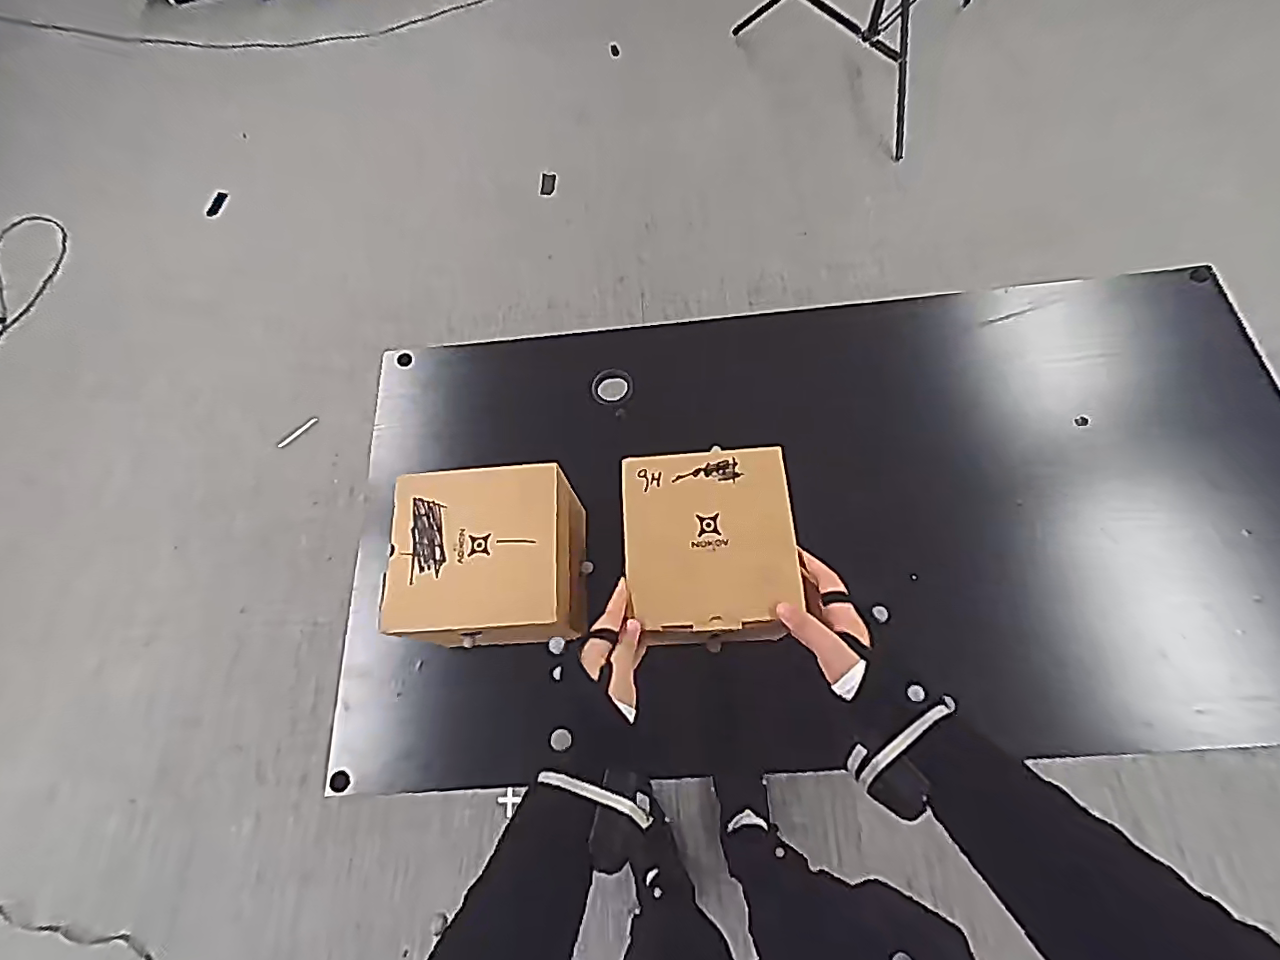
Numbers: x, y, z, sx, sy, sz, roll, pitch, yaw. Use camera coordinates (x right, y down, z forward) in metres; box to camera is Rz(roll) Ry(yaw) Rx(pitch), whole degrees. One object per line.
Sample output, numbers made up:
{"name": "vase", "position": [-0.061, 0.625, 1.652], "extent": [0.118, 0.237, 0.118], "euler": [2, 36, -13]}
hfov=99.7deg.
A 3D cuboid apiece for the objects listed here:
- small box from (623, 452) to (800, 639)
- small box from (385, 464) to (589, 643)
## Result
{"name": "small box", "position": [0.074, 0.083, 0.604], "extent": [0.168, 0.176, 0.179], "euler": [-4, 69, 4]}
{"name": "small box", "position": [-0.159, 0.093, 0.621], "extent": [0.179, 0.176, 0.168], "euler": [-4, 69, 3]}
